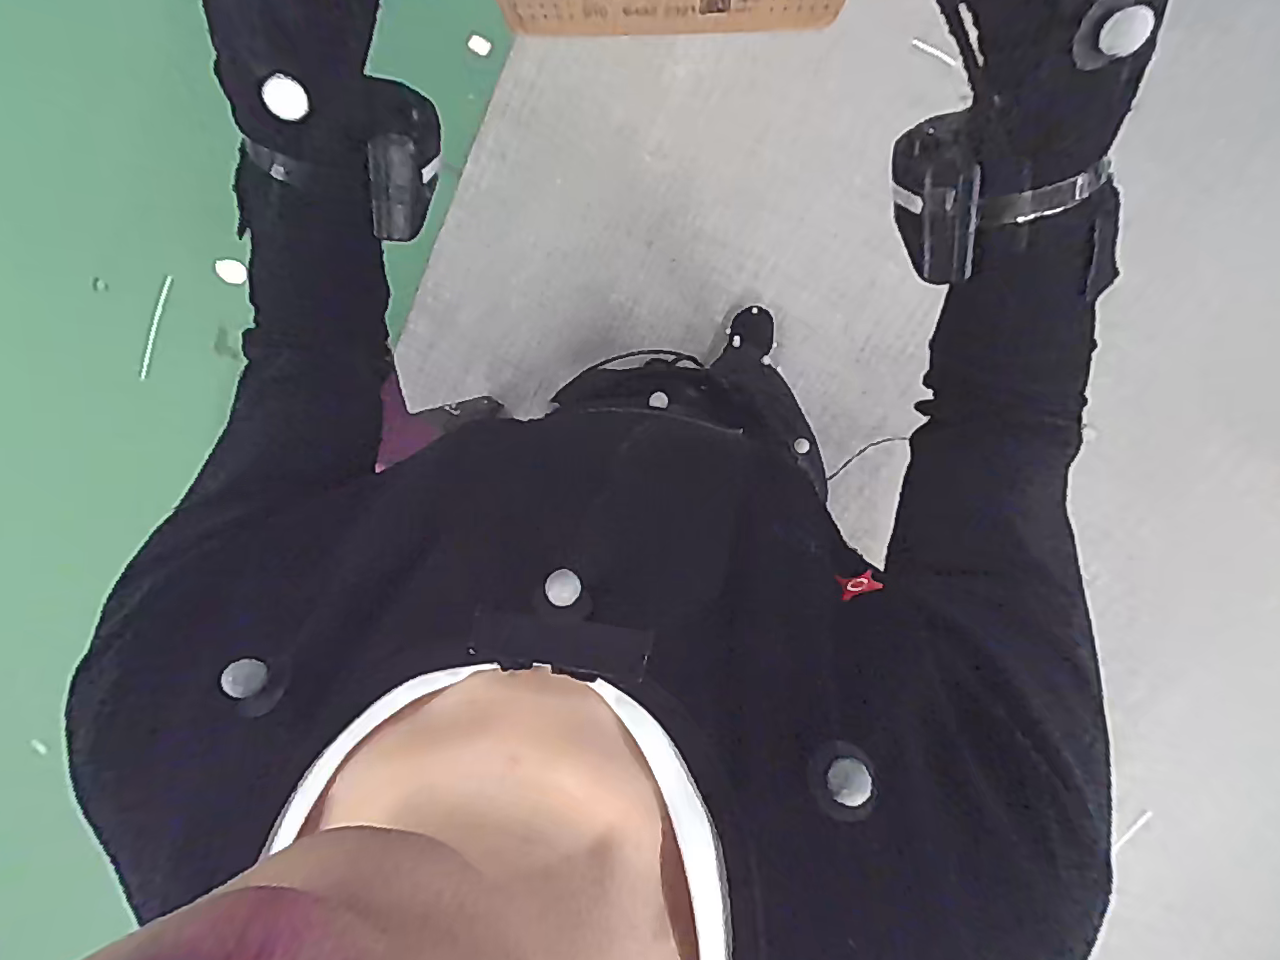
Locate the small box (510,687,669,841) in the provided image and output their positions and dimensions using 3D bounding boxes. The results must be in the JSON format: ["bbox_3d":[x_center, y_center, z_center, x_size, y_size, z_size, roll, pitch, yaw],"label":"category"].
[{"bbox_3d":[-0.067,0.437,0.764,0.168,0.176,0.179,32,104,-4],"label":"small box"}]
